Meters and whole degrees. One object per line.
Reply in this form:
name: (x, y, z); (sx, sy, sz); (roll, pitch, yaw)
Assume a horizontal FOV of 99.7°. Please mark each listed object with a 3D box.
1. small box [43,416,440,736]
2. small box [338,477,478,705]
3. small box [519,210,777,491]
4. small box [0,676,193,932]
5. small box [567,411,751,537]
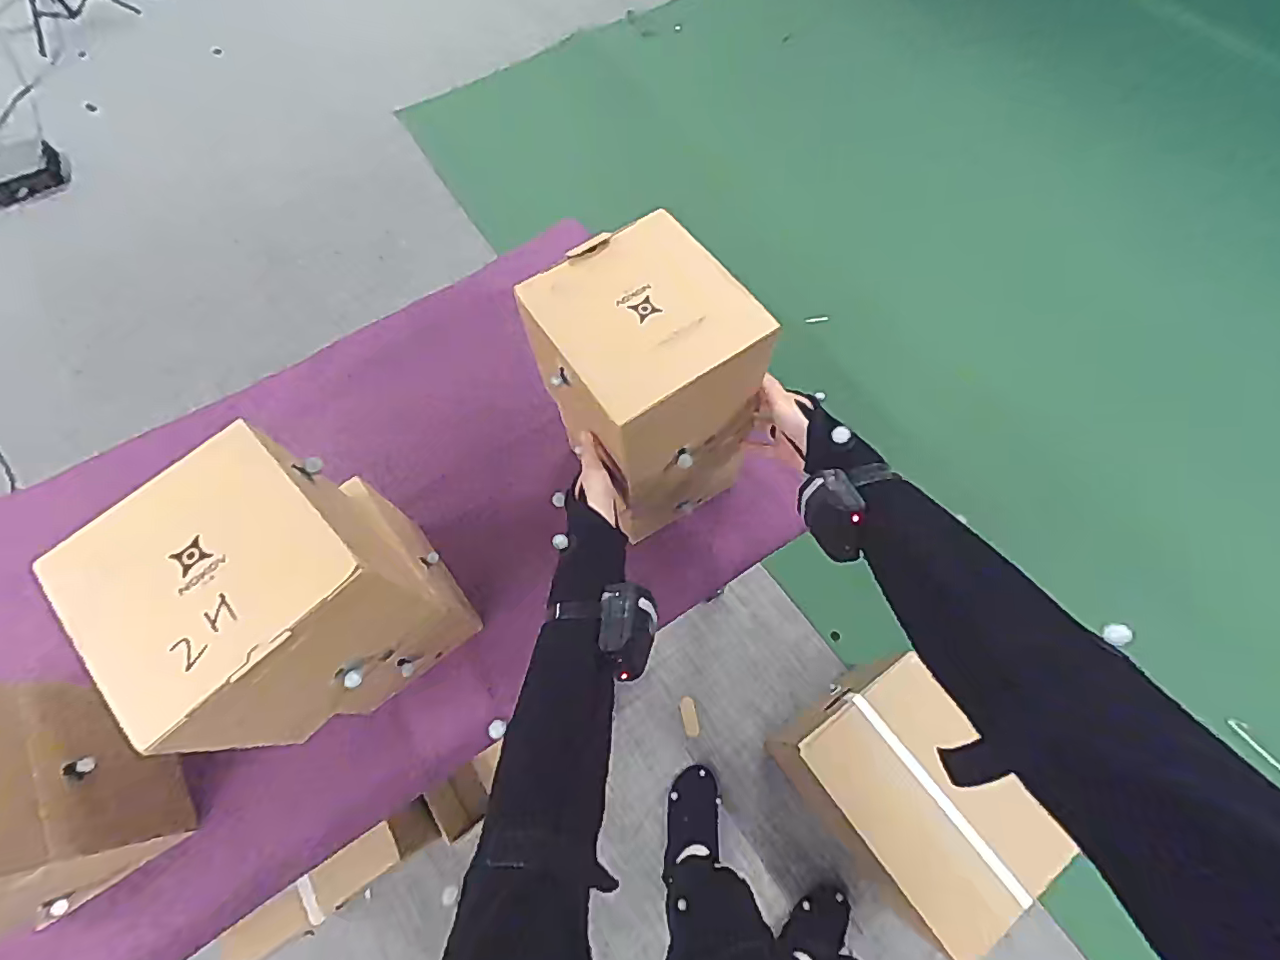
small box: (-0.305, 0.087, 0.452); (0.179, 0.176, 0.168); (42, 74, 17)
small box: (-0.311, 0.133, 0.613); (0.168, 0.176, 0.179); (-37, 70, -14)
small box: (0.005, -0.119, 0.540); (0.168, 0.176, 0.179); (-32, 69, -11)
small box: (-0.602, 0.322, 0.535); (0.168, 0.176, 0.179); (-31, 70, -13)
small box: (0.014, -0.055, 0.689); (0.168, 0.176, 0.179); (-29, 69, -10)
